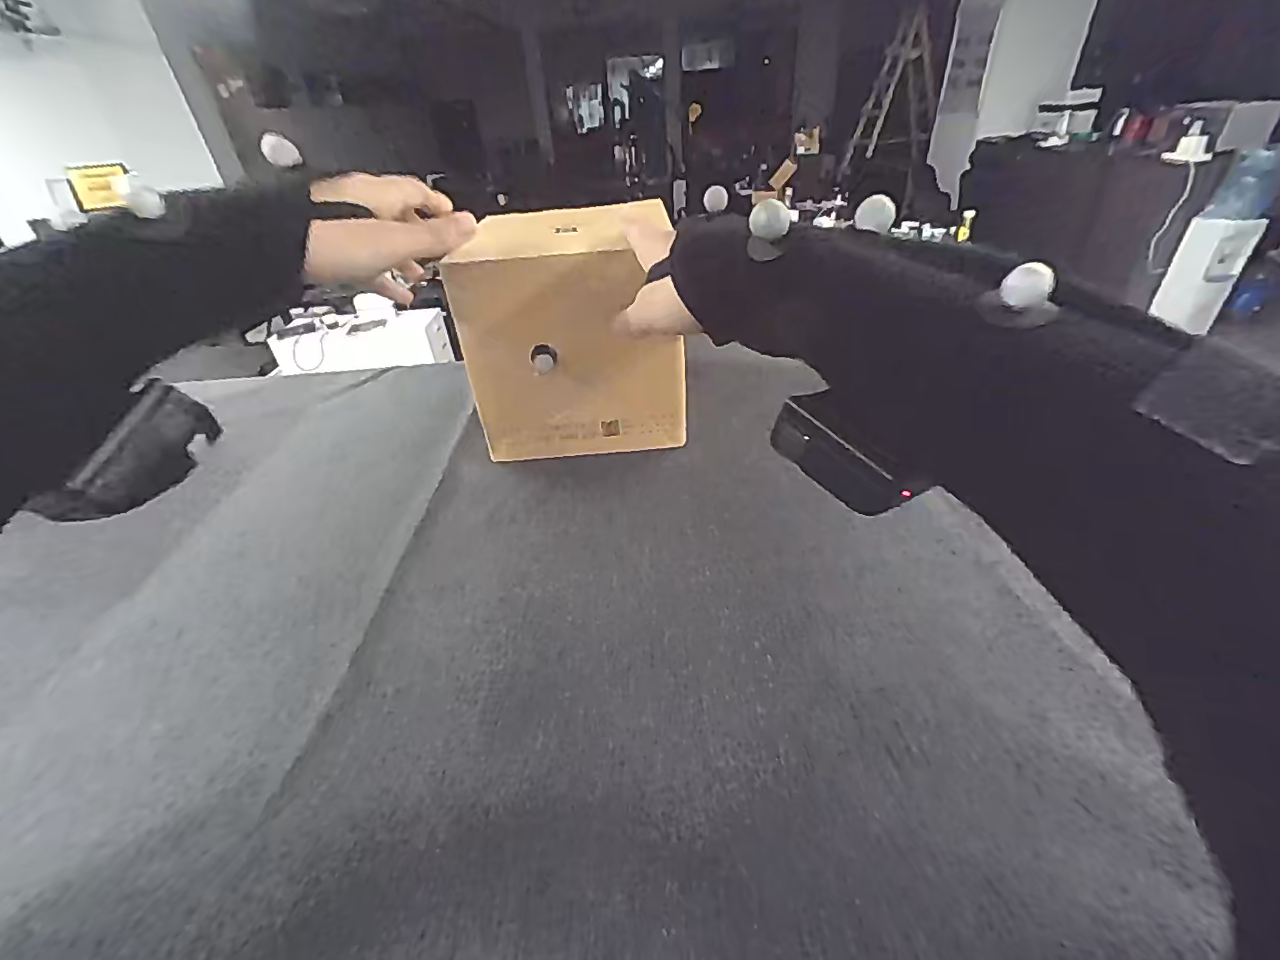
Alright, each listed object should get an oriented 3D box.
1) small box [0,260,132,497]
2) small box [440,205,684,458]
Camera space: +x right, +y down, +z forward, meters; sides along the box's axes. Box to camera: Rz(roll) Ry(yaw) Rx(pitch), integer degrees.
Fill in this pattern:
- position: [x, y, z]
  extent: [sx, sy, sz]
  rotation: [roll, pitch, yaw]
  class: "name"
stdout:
- position: [-0.628, -0.082, 0.478]
  extent: [0.179, 0.176, 0.168]
  rotation: [-4, 35, -1]
  class: "small box"
- position: [-0.052, -0.129, 0.478]
  extent: [0.168, 0.176, 0.179]
  rotation: [-5, 35, 1]
  class: "small box"
